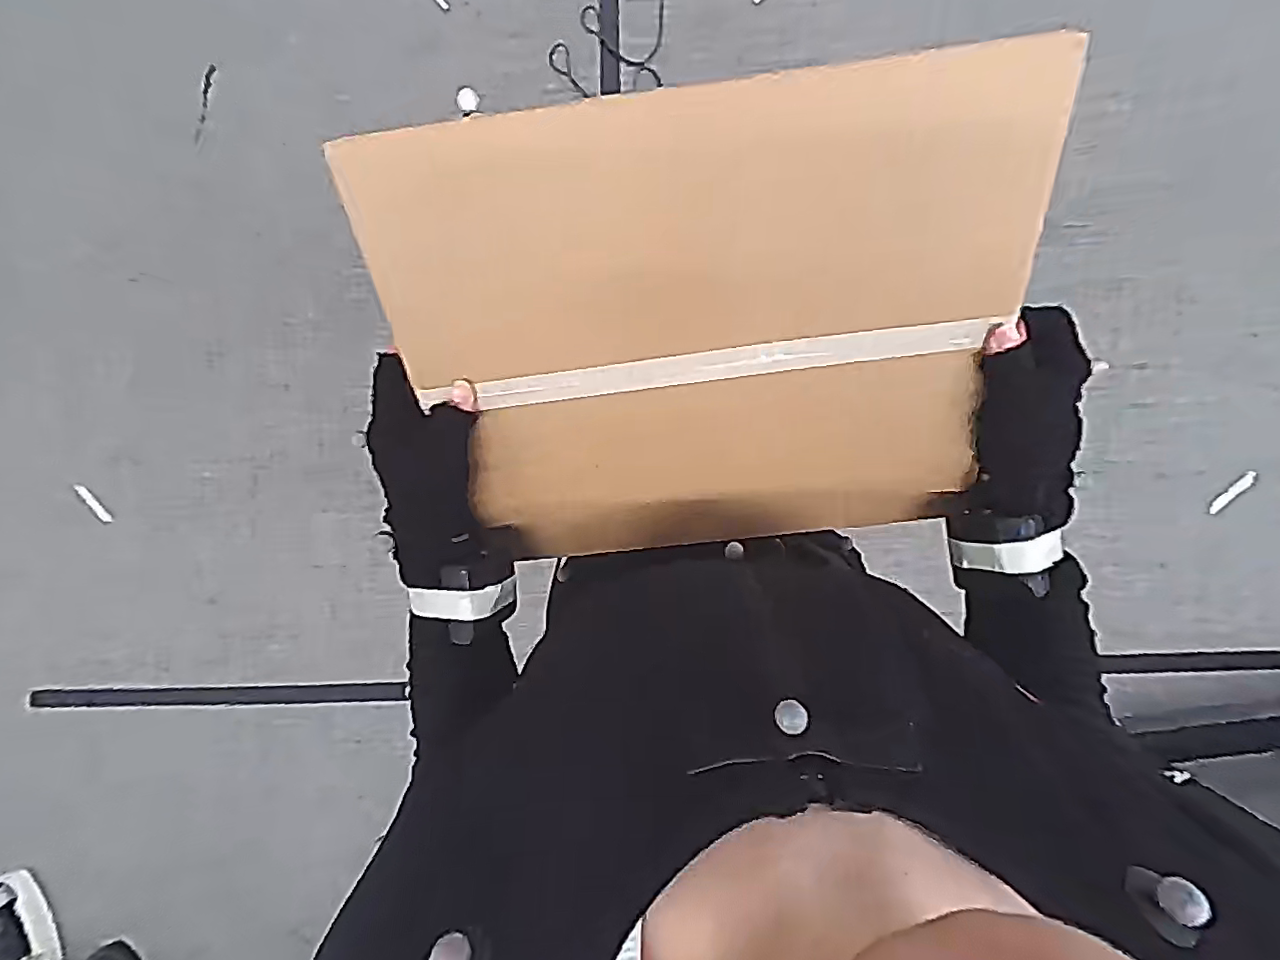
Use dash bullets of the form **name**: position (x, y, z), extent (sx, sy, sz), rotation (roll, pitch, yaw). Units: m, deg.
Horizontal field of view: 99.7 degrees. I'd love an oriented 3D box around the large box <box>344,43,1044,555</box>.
- **large box**: position (0.037, -0.164, 0.506), extent (0.408, 0.320, 0.320), rotation (-6, 125, 3)
